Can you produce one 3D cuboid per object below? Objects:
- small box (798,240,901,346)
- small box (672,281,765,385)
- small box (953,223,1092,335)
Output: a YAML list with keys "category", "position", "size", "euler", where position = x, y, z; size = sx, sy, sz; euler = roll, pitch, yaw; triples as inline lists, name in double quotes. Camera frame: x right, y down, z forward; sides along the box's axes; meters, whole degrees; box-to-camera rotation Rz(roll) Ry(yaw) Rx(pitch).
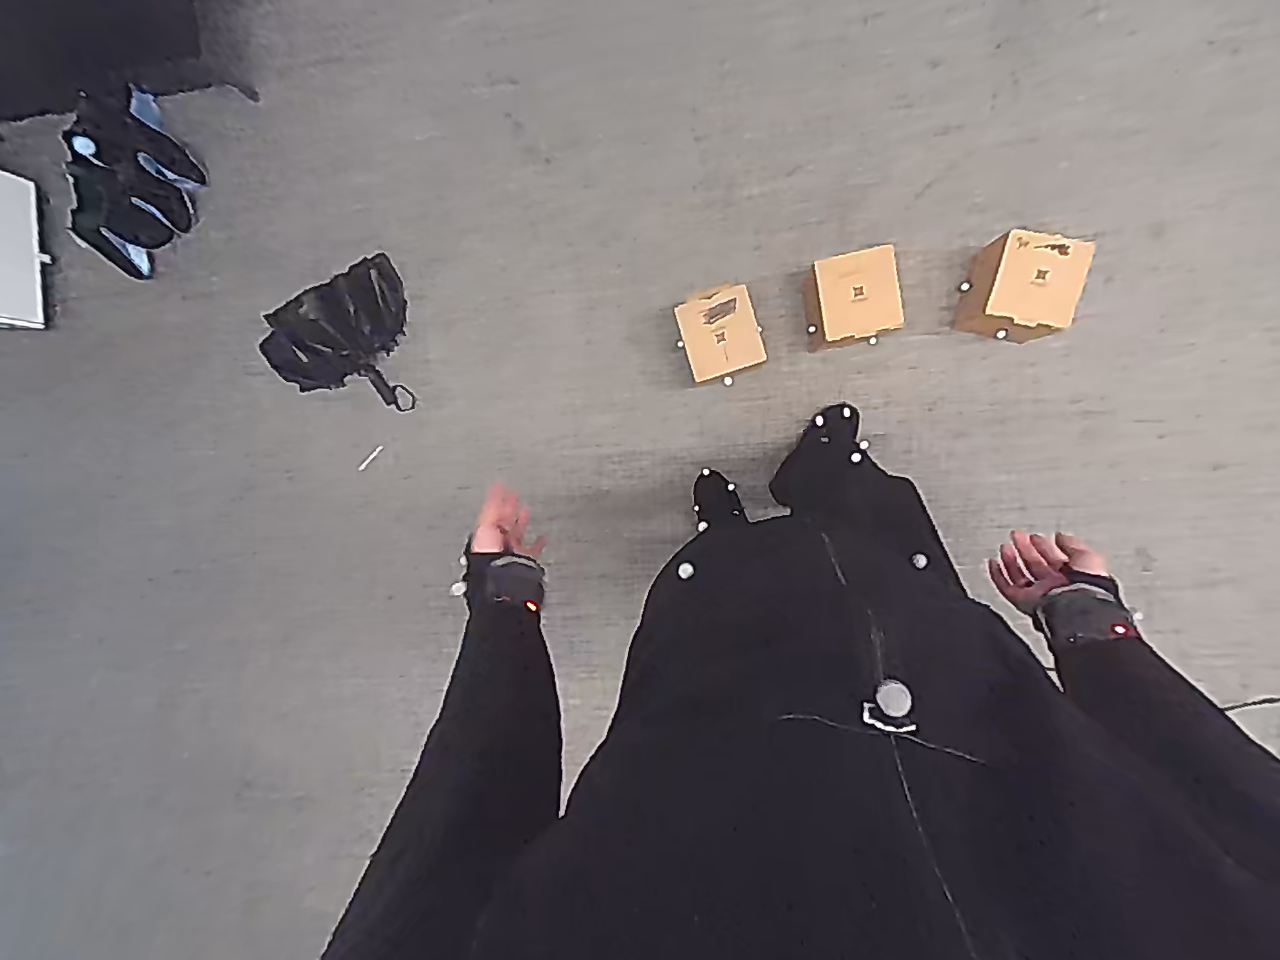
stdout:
- category: "small box"
  position: [0.464, -0.409, 1.219]
  size: [0.168, 0.176, 0.179]
  euler: [-12, 93, 7]
- category: "small box"
  position: [0.179, -0.332, 1.259]
  size: [0.168, 0.176, 0.179]
  euler: [-17, 94, 9]
- category: "small box"
  position: [0.810, -0.424, 1.170]
  size: [0.168, 0.176, 0.179]
  euler: [14, 98, 7]
